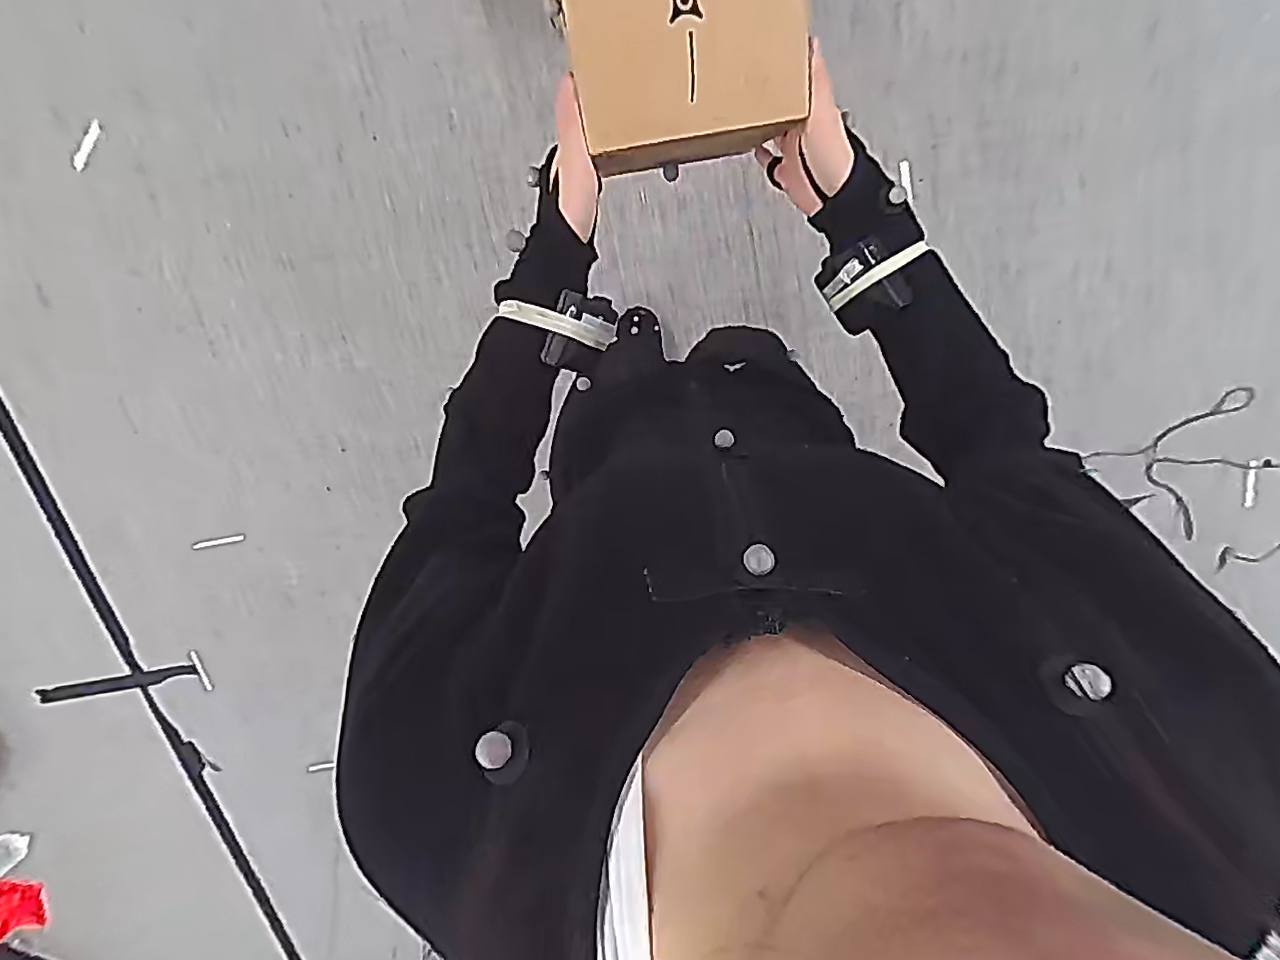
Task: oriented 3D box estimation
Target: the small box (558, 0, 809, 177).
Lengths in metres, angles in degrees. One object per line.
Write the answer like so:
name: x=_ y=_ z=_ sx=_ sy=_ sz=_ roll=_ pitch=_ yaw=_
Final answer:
small box: x=0.023 y=-0.359 z=0.428 sx=0.168 sy=0.176 sz=0.179 roll=-10 pitch=114 yaw=-1
